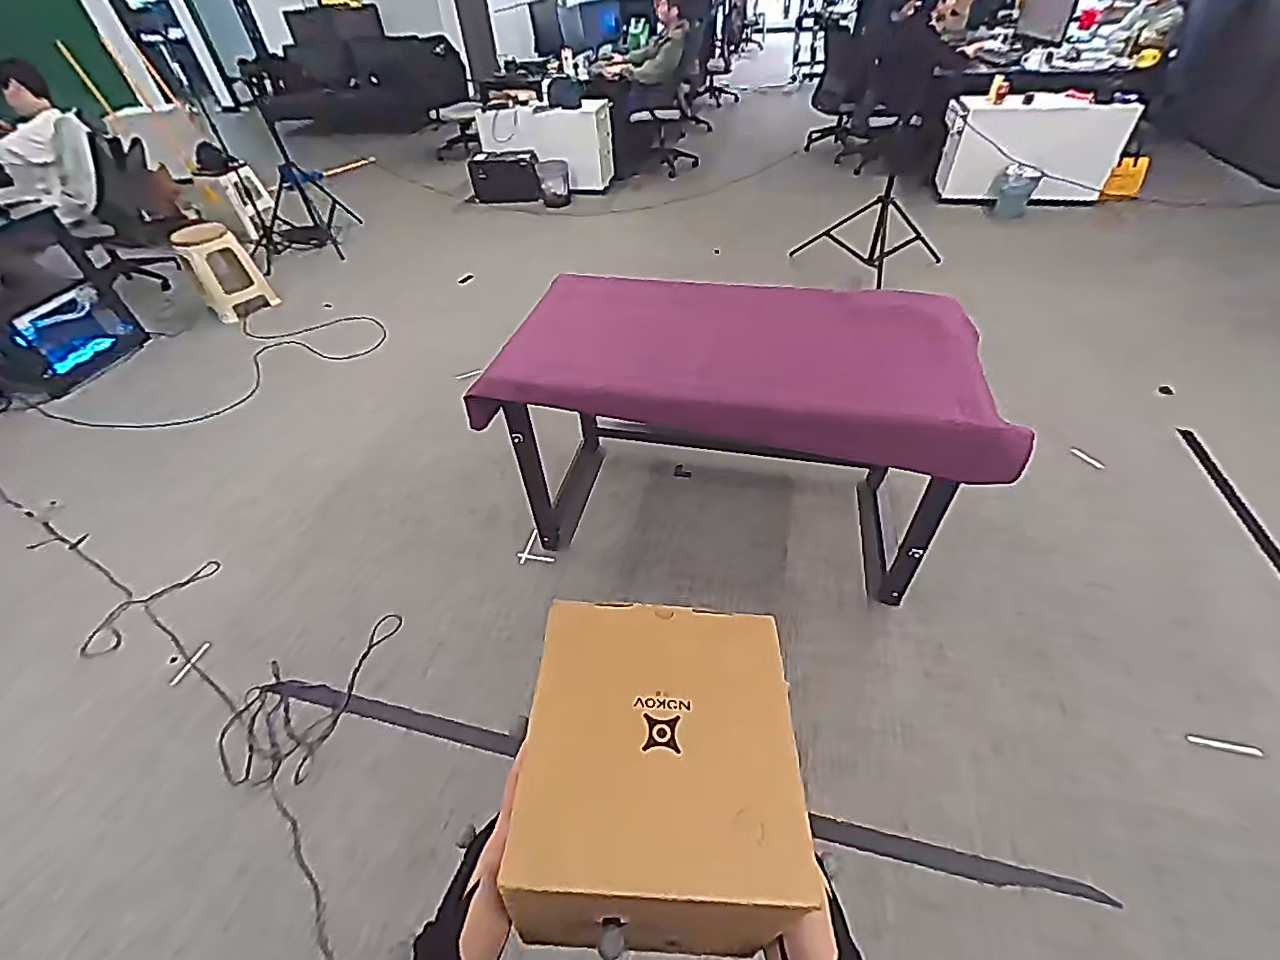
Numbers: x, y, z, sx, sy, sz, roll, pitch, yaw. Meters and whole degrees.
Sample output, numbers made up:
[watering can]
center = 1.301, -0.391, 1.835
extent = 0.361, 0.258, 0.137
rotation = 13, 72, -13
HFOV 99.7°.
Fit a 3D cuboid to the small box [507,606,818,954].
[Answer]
[small box]
center = 0.011, 0.216, 0.392
extent = 0.168, 0.176, 0.179
rotation = 4, 40, -1
